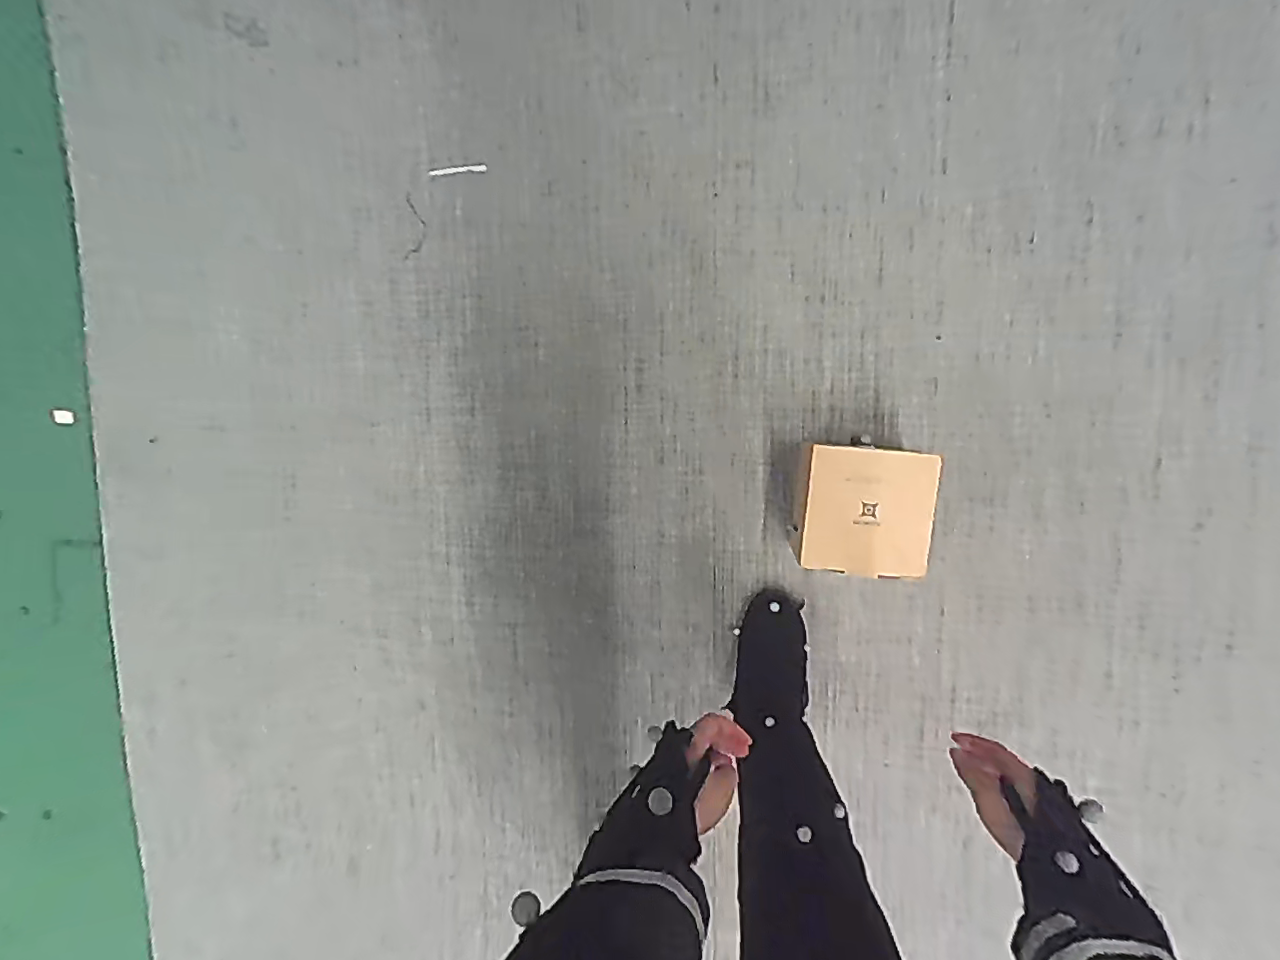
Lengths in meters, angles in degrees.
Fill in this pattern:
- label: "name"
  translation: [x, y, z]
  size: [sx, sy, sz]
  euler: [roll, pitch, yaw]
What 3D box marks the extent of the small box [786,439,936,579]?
- label: "small box"
  translation: [0.316, 0.033, 0.810]
  size: [0.168, 0.176, 0.179]
  euler: [5, 96, 8]
